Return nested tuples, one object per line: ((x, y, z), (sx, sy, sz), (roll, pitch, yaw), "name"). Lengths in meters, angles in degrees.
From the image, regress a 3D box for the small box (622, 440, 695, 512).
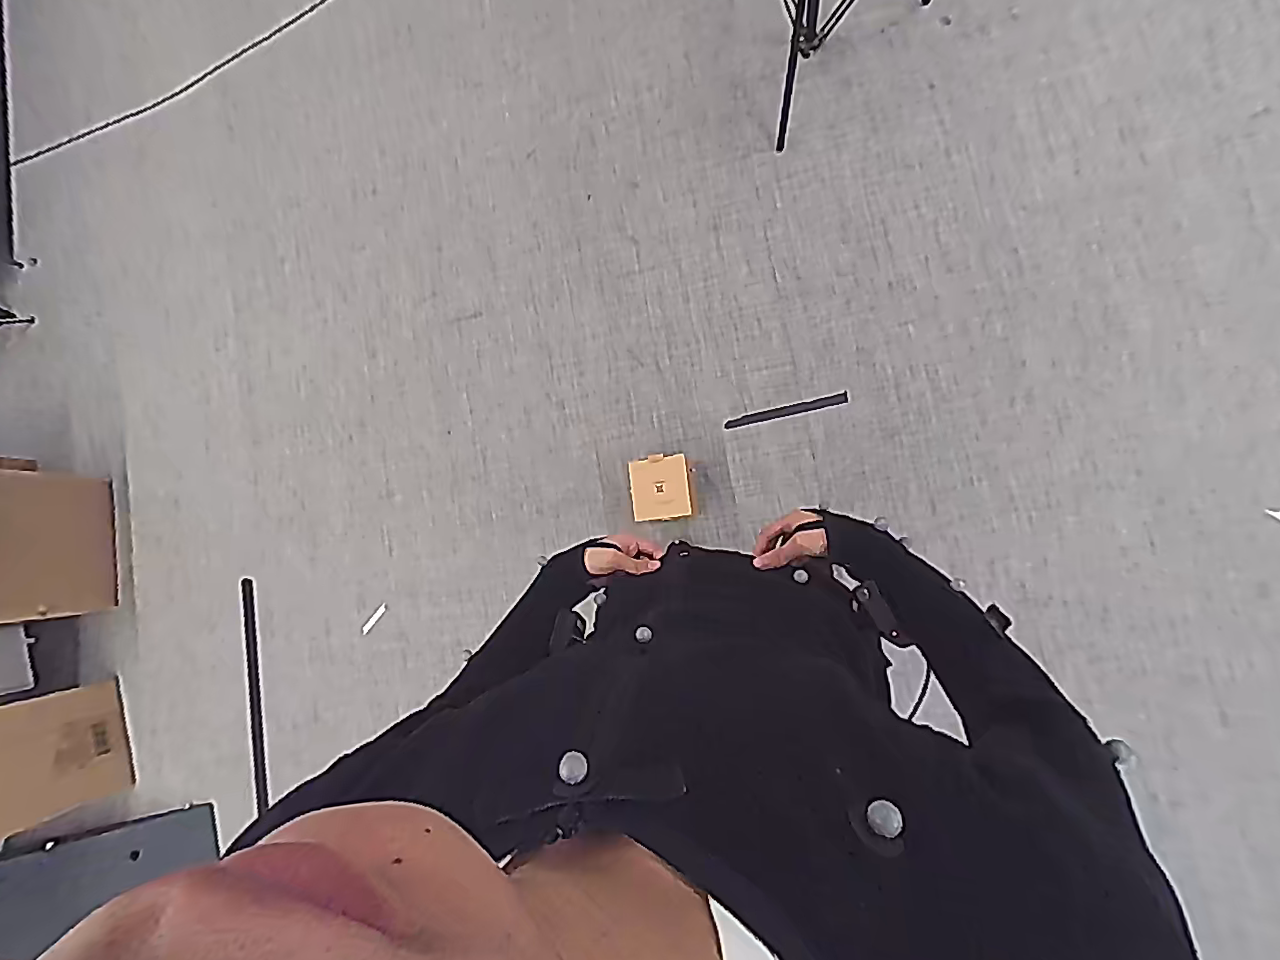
((0.056, -0.005, 1.526), (0.168, 0.176, 0.179), (-8, 84, 13), "small box")
